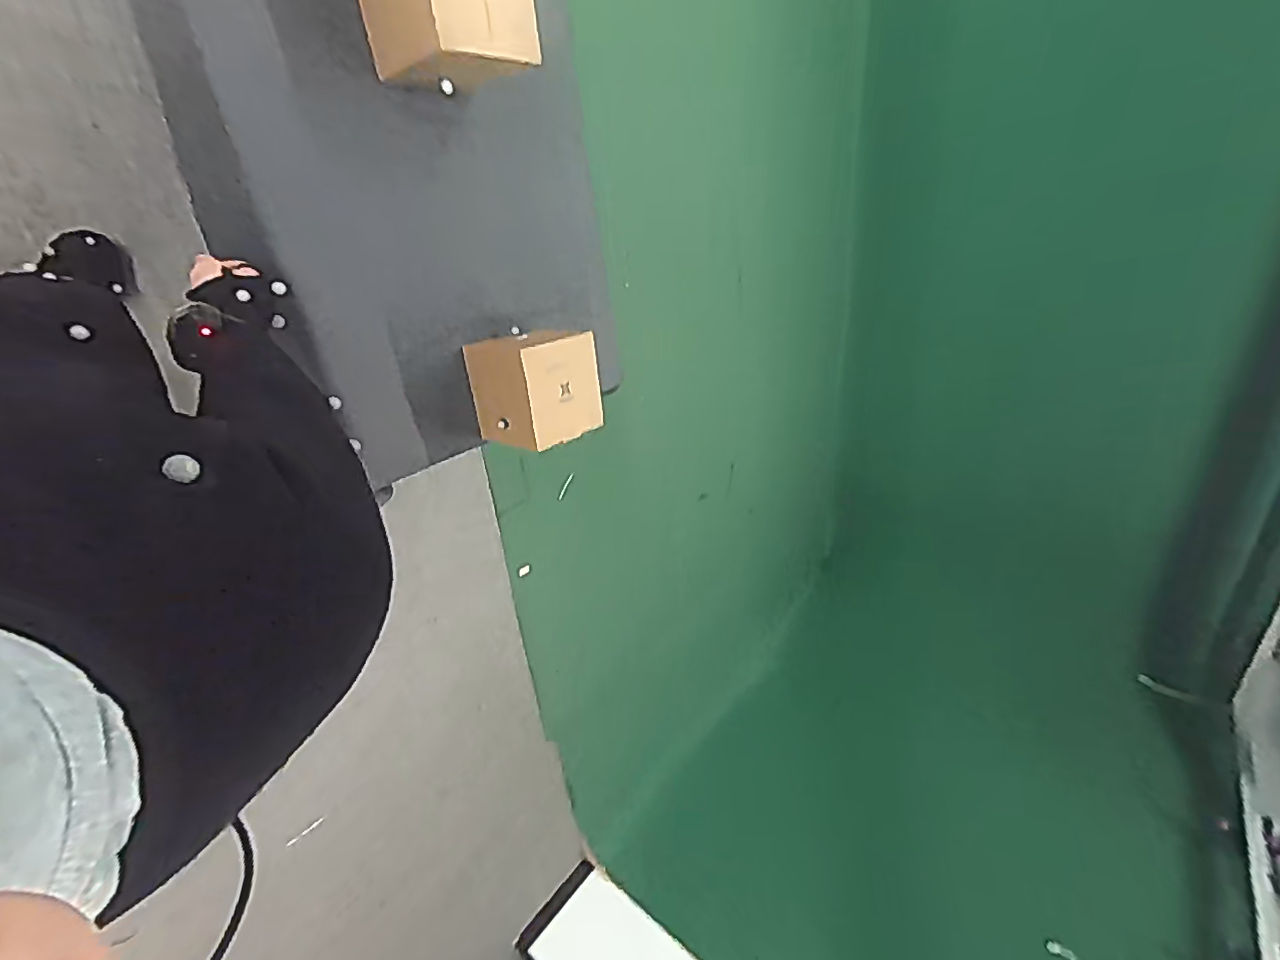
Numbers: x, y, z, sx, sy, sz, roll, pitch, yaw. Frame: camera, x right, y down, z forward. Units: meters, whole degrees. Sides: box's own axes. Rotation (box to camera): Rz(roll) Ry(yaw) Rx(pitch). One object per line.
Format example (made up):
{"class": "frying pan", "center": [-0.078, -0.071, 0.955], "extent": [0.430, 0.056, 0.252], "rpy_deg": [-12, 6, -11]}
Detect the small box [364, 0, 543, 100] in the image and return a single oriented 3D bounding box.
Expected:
{"class": "small box", "center": [-0.261, -0.642, 0.731], "extent": [0.168, 0.176, 0.179], "rpy_deg": [-31, 125, -41]}

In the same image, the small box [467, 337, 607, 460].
{"class": "small box", "center": [-0.185, -0.155, 0.978], "extent": [0.168, 0.176, 0.179], "rpy_deg": [-30, 122, -42]}
